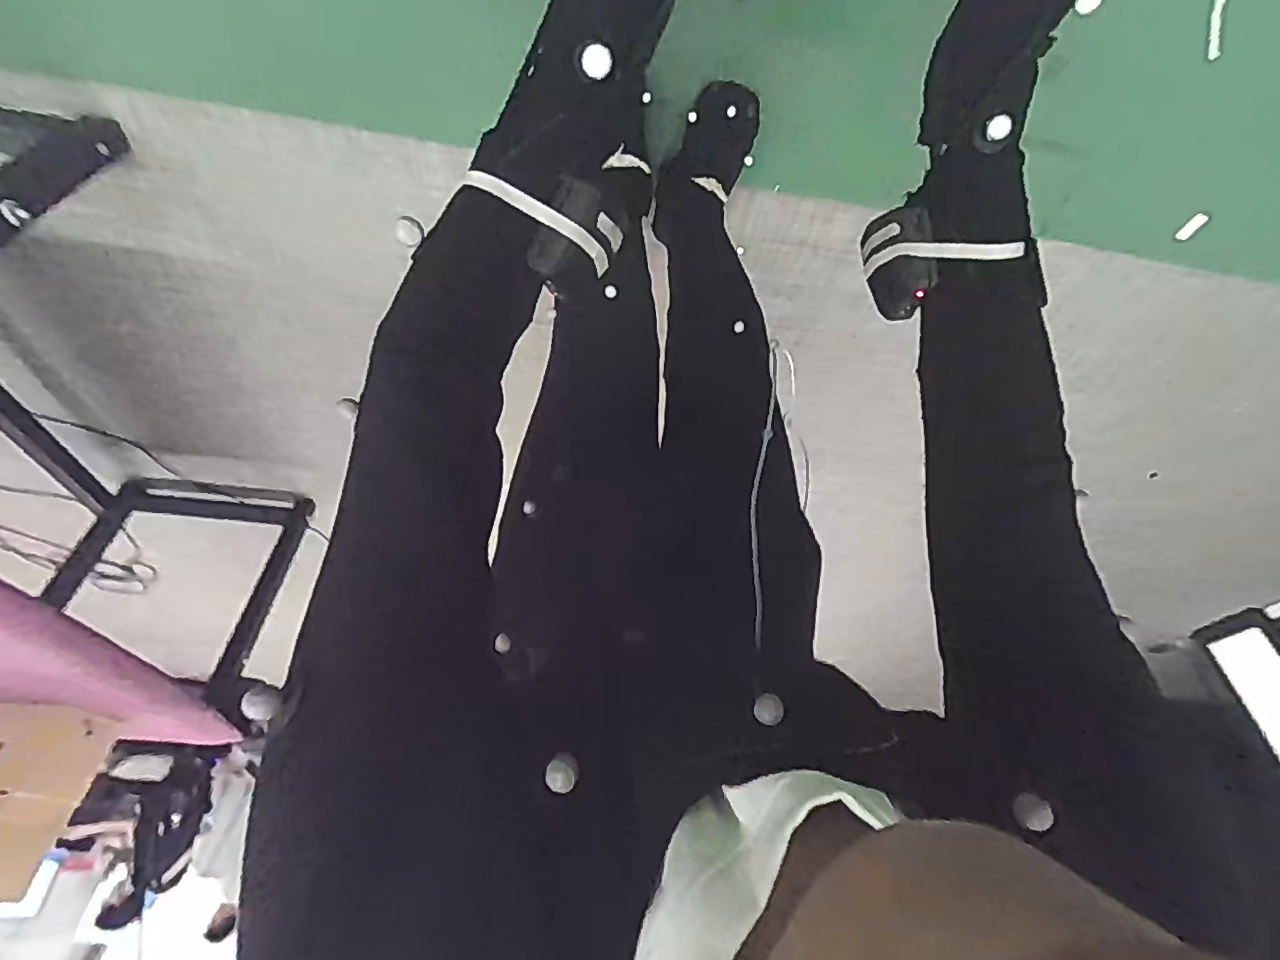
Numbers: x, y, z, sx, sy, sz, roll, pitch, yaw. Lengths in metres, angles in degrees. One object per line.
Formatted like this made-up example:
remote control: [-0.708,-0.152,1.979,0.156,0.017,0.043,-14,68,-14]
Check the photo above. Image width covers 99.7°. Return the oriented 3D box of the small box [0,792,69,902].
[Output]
small box: [-1.285,0.700,1.036,0.168,0.176,0.179,1,142,-1]
